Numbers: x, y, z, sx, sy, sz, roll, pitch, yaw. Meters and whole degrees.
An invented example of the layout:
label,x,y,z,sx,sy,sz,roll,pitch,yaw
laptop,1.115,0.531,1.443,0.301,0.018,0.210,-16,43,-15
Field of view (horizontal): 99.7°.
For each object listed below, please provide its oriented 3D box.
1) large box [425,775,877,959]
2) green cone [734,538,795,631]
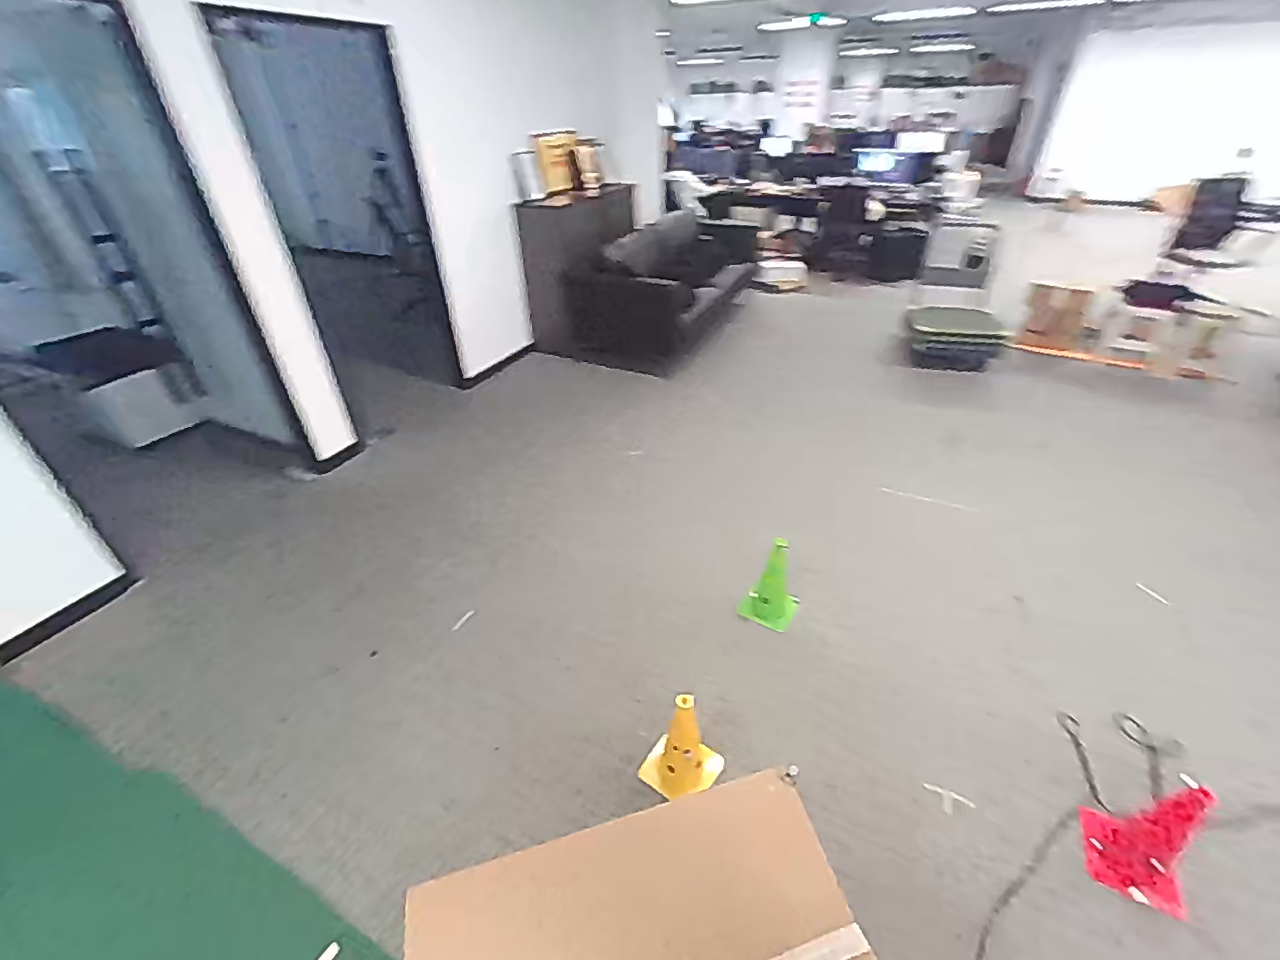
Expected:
label,x,y,z,sx,sy,sz,roll,pitch,yaw
large box,0.021,0.578,0.561,0.408,0.320,0.320,-10,45,-13
green cone,0.496,0.367,2.083,0.200,0.368,0.202,18,41,27
